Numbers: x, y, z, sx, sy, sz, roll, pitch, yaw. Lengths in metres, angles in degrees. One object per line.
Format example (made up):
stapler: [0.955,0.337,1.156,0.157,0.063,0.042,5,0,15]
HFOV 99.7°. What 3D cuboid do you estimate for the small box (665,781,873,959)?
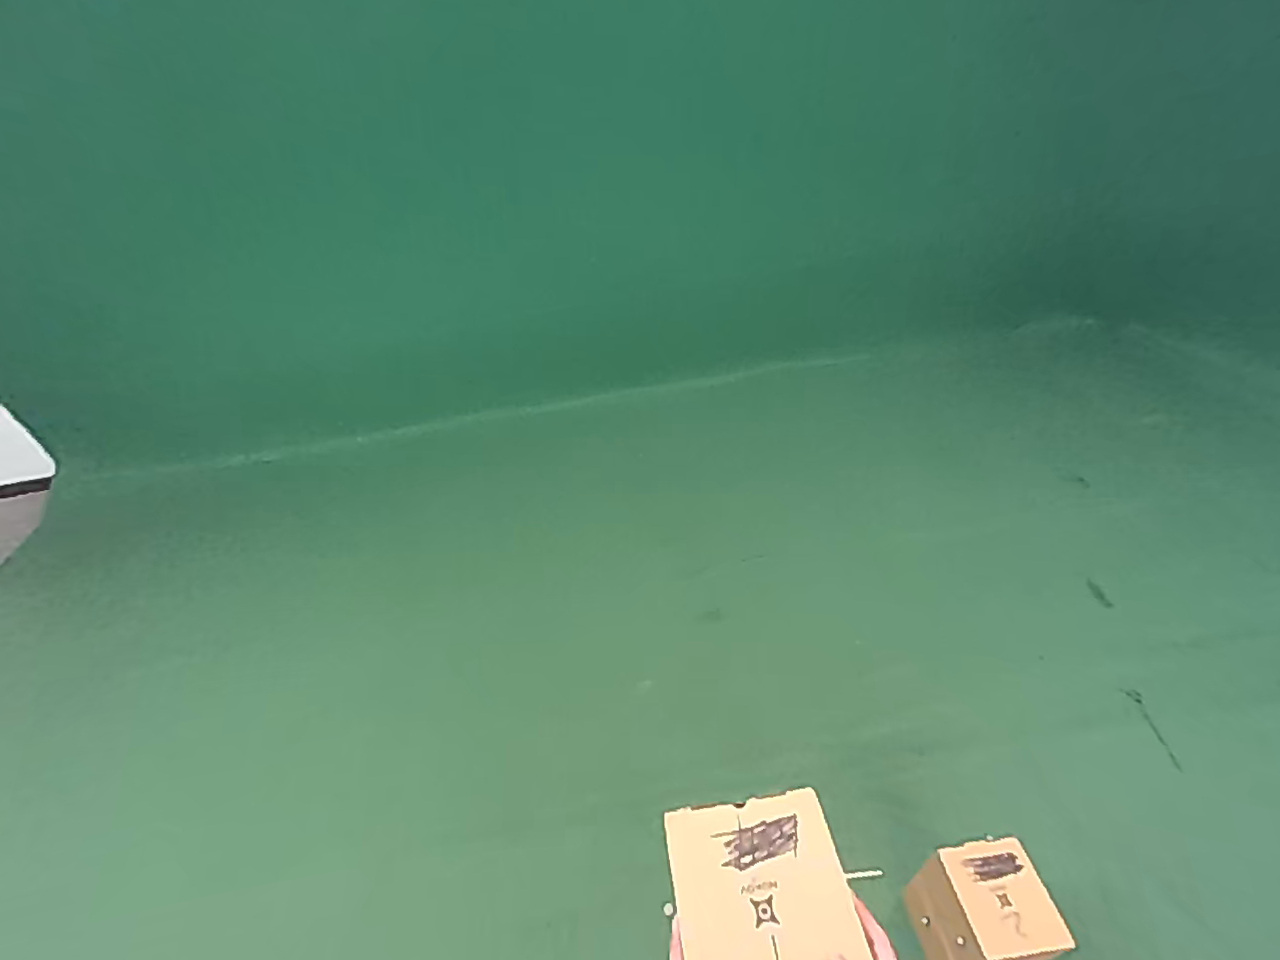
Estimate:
small box: [0.120,0.446,0.560,0.168,0.176,0.179,-9,42,-2]

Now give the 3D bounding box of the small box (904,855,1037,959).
small box: [0.708,0.958,1.185,0.168,0.176,0.179,-8,41,0]
